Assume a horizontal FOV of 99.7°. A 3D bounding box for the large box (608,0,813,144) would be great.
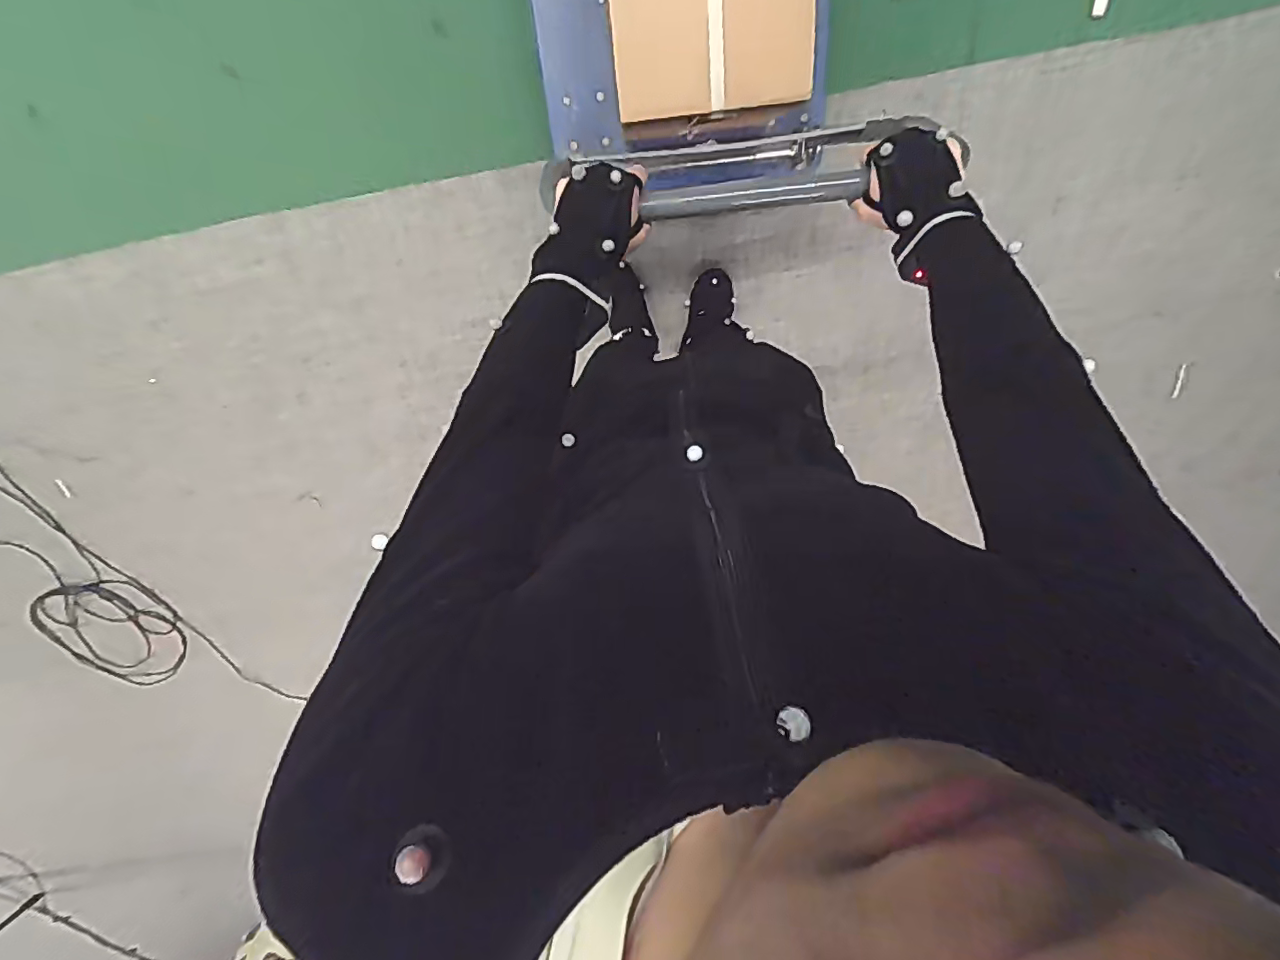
[{"bbox_3d":[0.100,-0.839,0.924,0.320,0.320,0.408,-6,117,1],"label":"large box"}]
